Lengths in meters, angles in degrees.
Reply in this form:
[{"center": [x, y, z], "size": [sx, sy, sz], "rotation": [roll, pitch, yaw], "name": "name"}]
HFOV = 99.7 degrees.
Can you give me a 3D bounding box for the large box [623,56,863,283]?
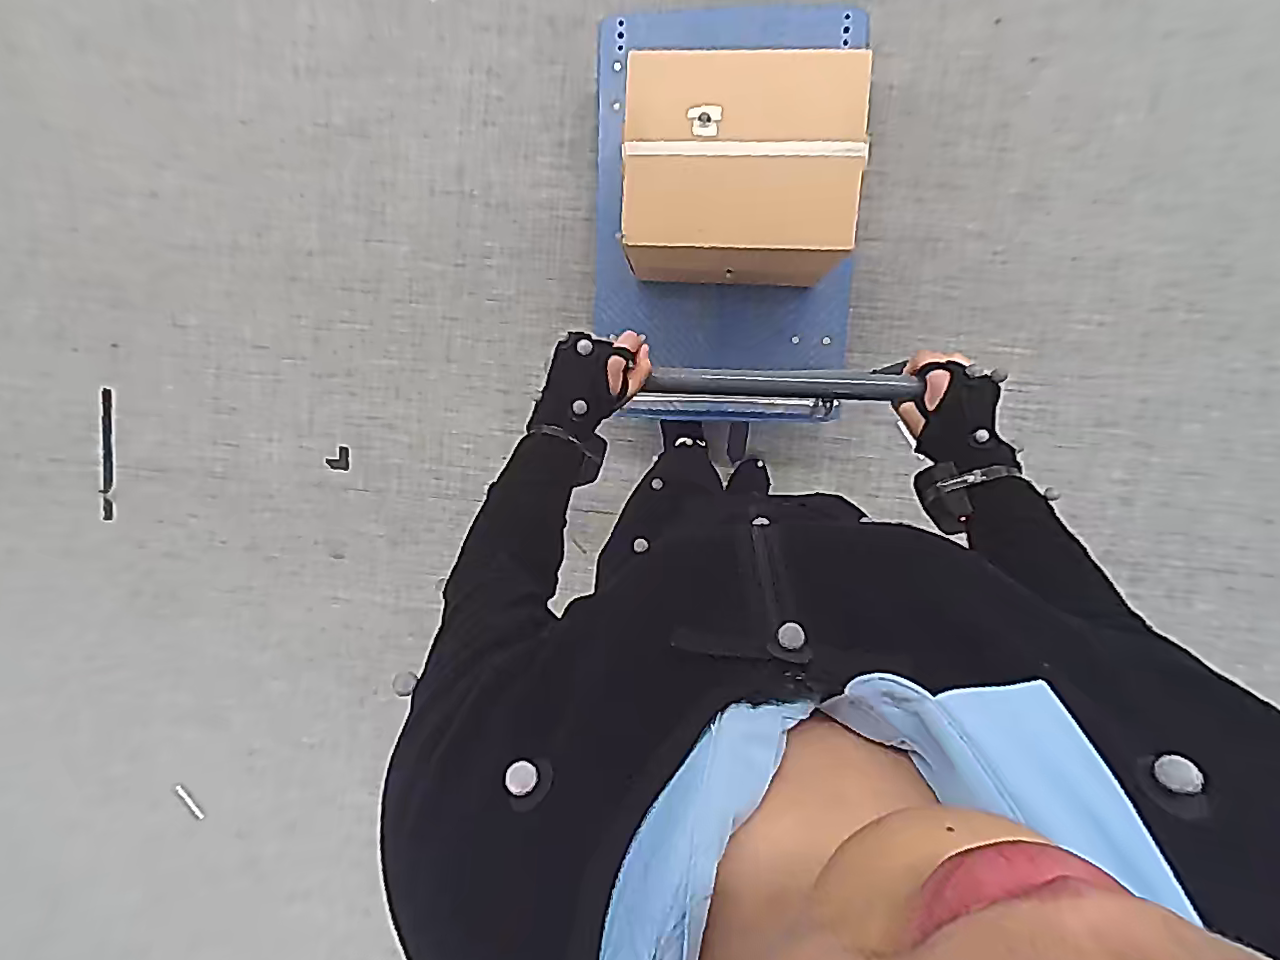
[{"center": [0.188, -0.585, 1.086], "size": [0.408, 0.320, 0.320], "rotation": [3, 98, 5], "name": "large box"}]
